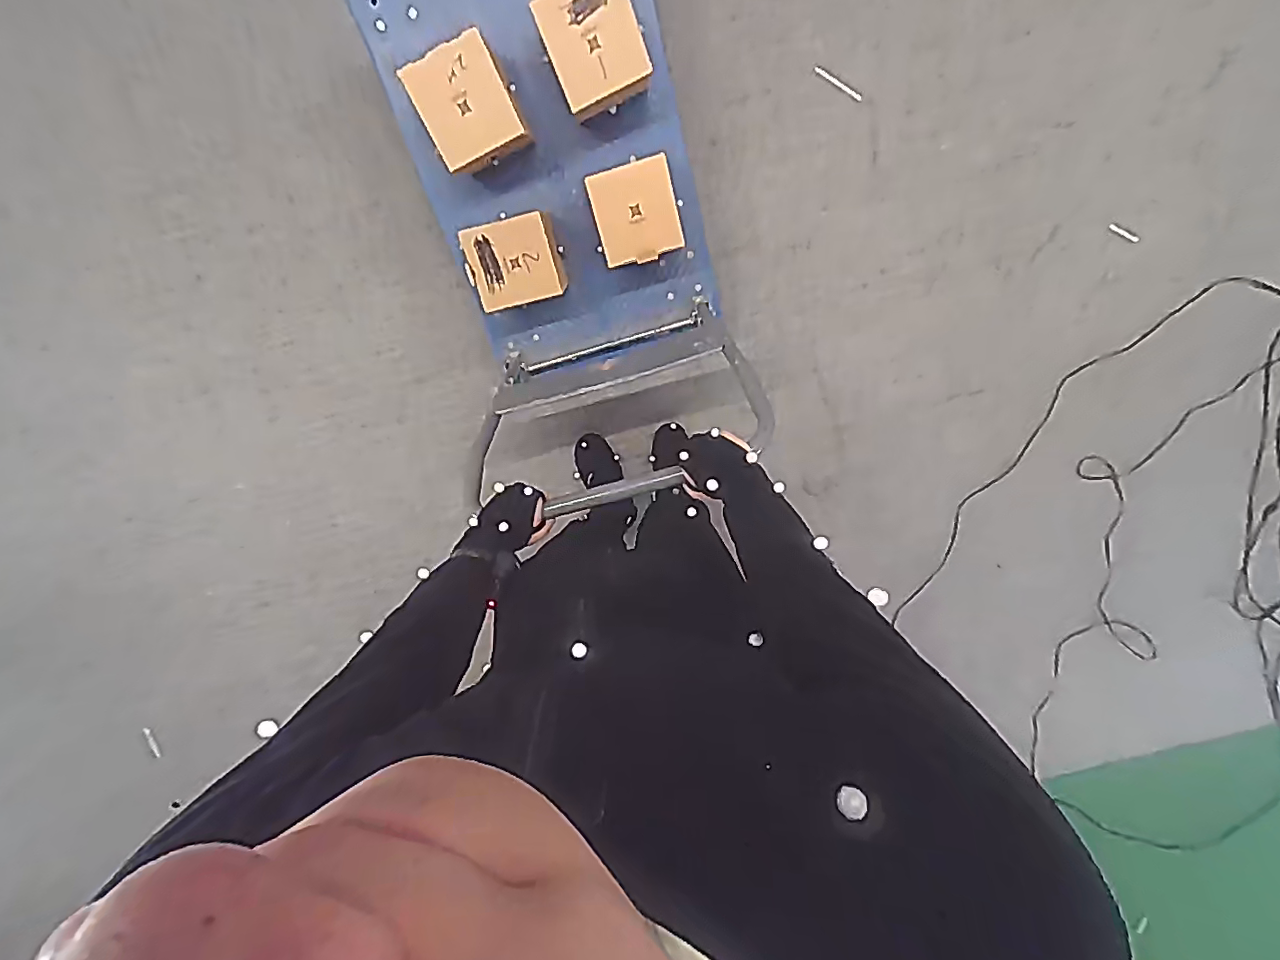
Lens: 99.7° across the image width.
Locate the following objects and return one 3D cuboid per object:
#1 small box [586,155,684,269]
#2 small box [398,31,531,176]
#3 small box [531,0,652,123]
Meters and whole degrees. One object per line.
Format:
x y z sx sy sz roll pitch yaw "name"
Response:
-0.012 -0.571 1.158 0.168 0.176 0.179 -15 118 5 "small box"
-0.329 -0.723 1.061 0.168 0.176 0.179 -23 116 8 "small box"
-0.088 -0.814 1.026 0.168 0.176 0.179 -21 117 9 "small box"
